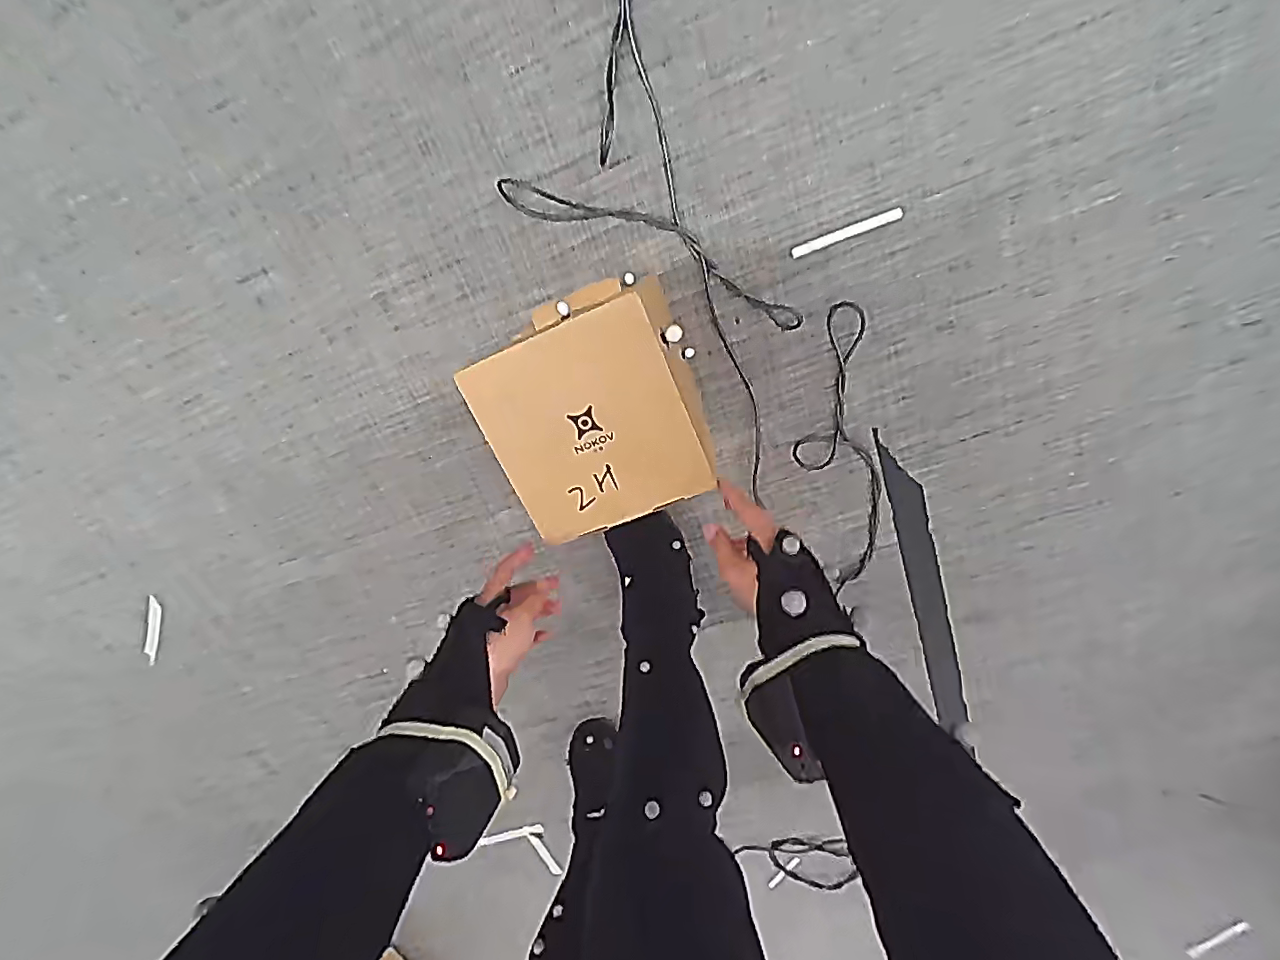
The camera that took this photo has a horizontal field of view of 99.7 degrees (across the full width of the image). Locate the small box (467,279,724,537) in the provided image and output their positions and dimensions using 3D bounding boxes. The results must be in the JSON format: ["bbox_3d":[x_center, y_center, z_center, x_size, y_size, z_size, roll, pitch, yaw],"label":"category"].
[{"bbox_3d":[-0.030,-0.078,0.521,0.168,0.176,0.179,-20,109,12],"label":"small box"}]
